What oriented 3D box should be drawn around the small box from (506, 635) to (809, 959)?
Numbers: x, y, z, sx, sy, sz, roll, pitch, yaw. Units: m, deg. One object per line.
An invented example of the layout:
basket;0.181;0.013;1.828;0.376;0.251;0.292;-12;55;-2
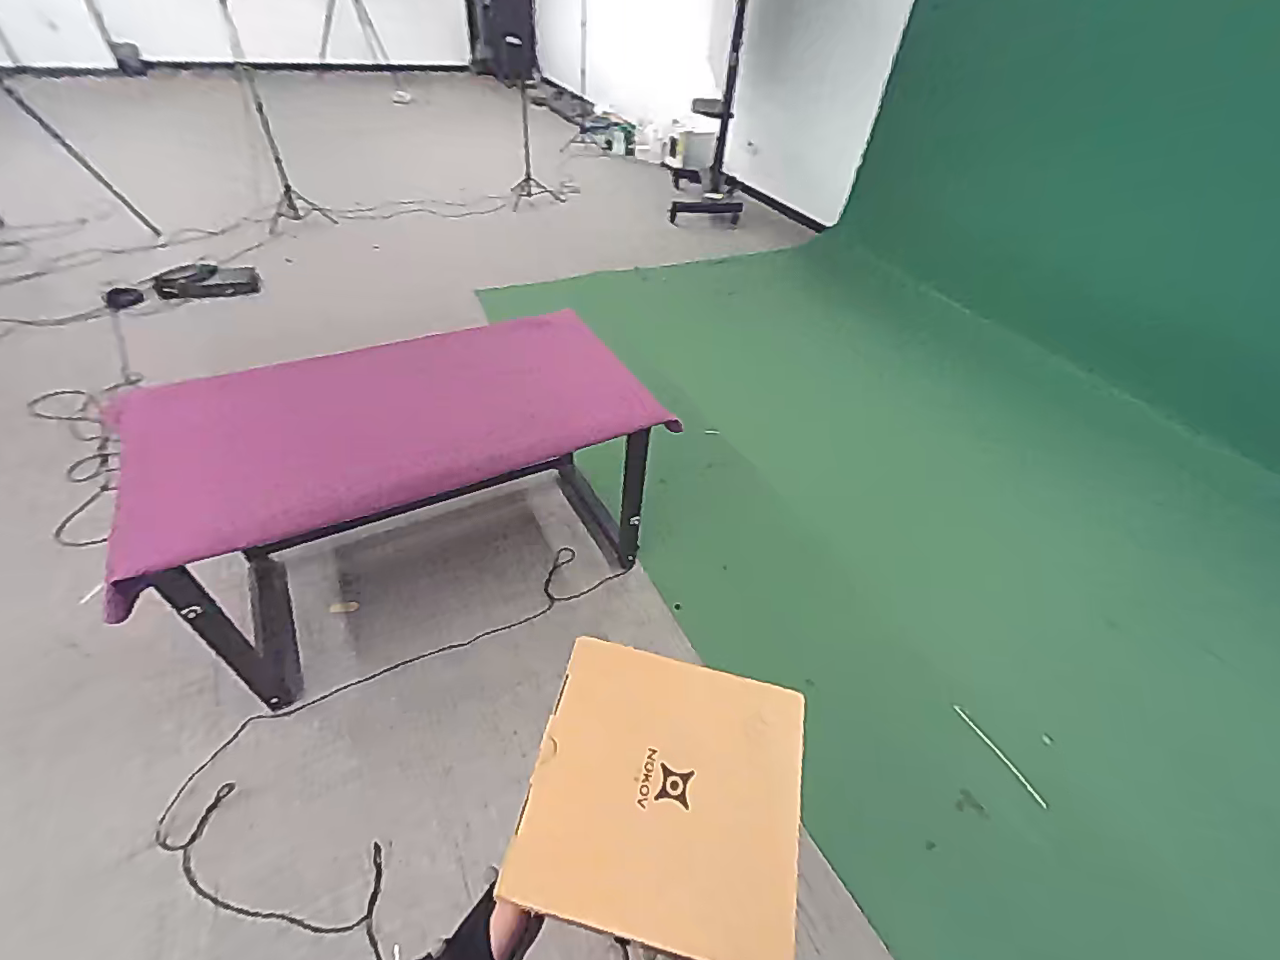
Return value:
small box;0.017;0.248;0.419;0.179;0.176;0.168;13;50;5
